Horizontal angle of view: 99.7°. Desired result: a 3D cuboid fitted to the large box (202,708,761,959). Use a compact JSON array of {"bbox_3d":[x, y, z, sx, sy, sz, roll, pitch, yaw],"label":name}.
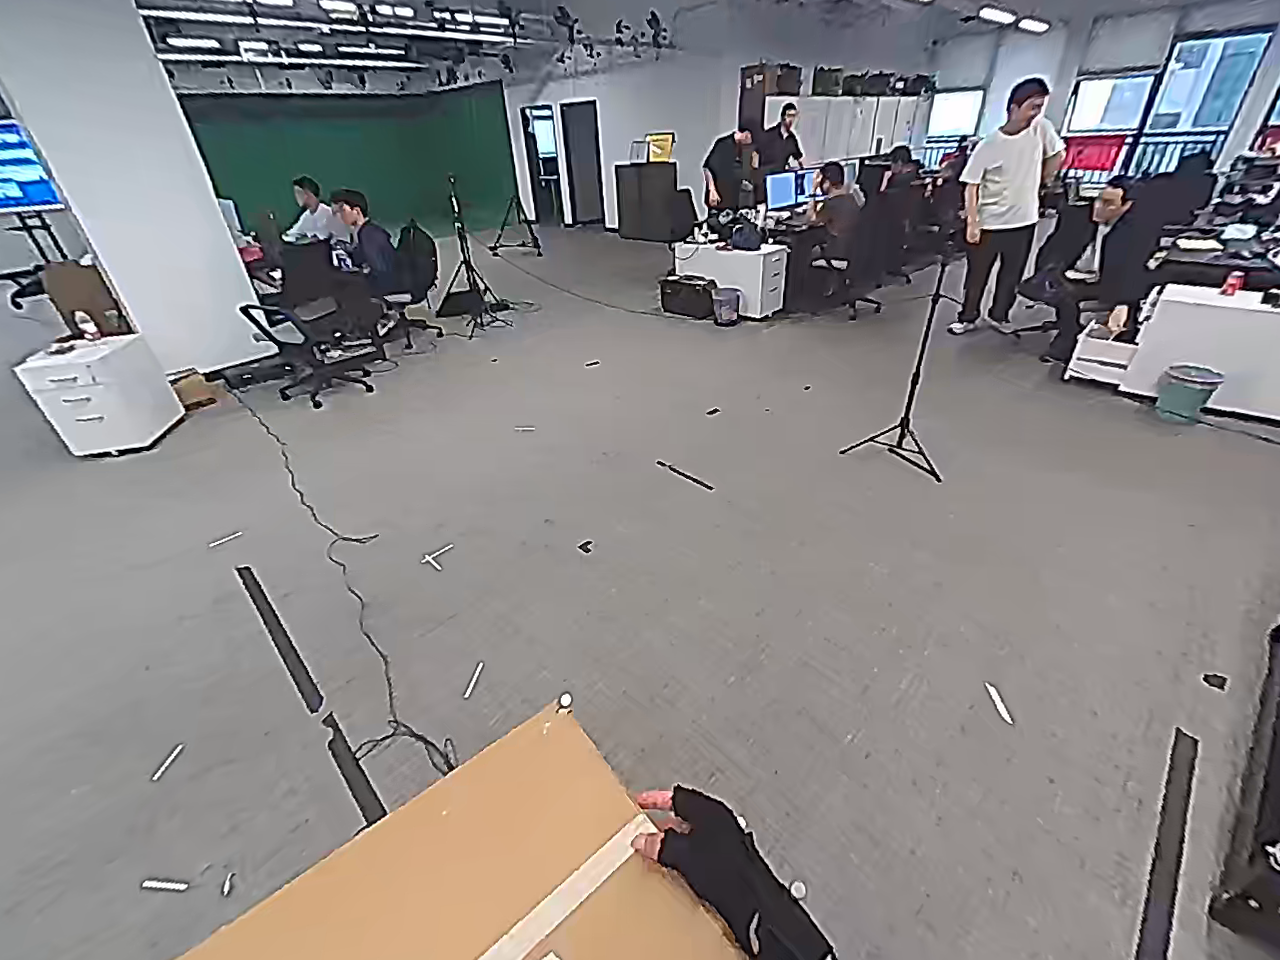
[{"bbox_3d":[-0.141,0.514,0.489,0.408,0.320,0.320,-25,45,-31],"label":"large box"}]
